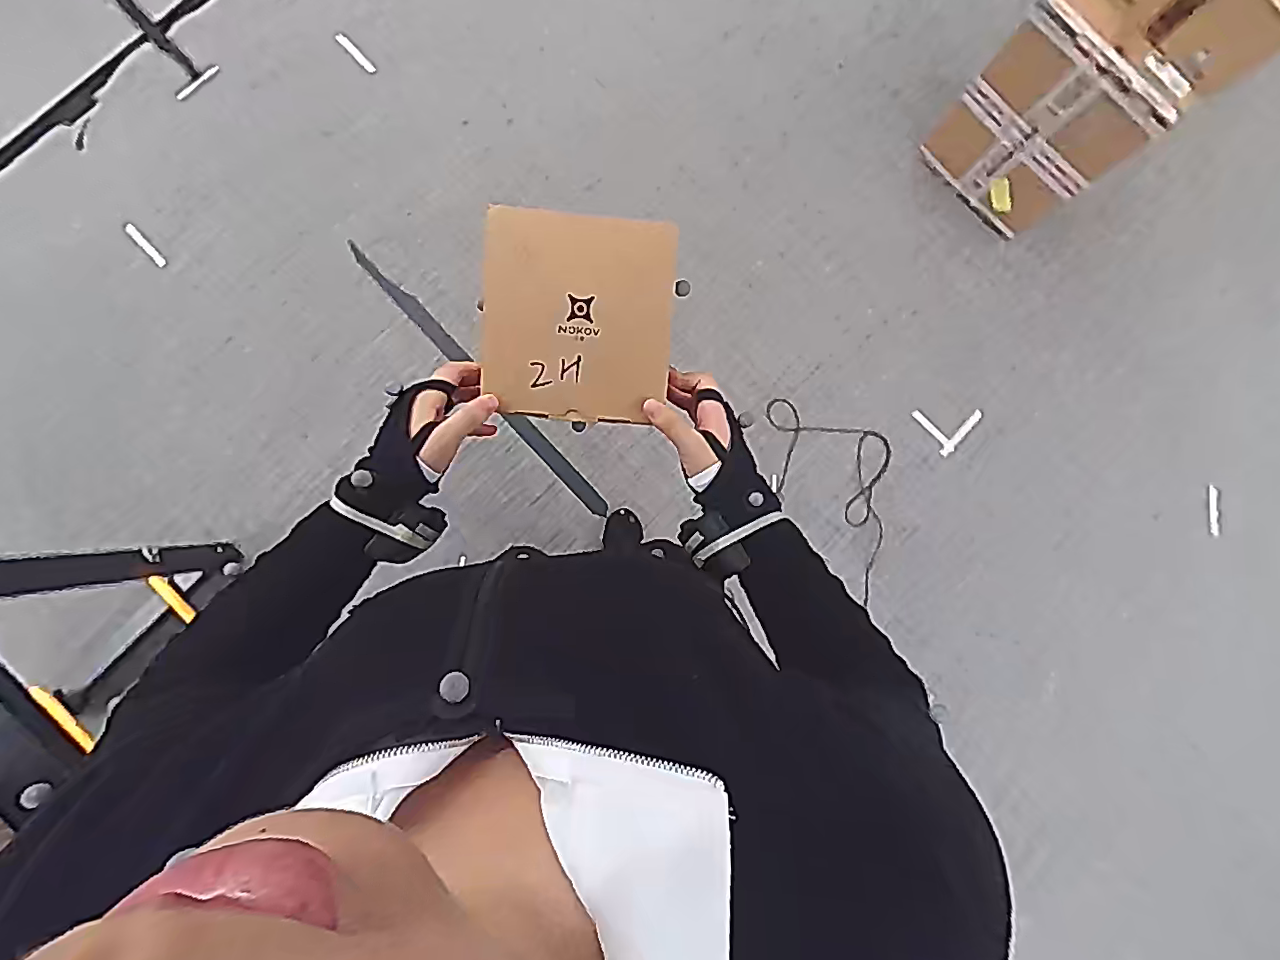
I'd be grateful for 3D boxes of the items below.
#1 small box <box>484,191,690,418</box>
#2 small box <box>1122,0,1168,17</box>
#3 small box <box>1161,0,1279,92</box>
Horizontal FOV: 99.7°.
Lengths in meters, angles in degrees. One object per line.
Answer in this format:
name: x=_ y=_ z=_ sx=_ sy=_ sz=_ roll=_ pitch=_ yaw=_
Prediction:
small box: x=-0.050 y=-0.158 z=0.543 sx=0.168 sy=0.176 sz=0.179 roll=5 pitch=97 yaw=-3
small box: x=1.071 y=-1.089 z=1.072 sx=0.179 sy=0.176 sz=0.168 roll=-42 pitch=87 yaw=-2
small box: x=1.211 y=-0.934 z=1.069 sx=0.179 sy=0.176 sz=0.168 roll=-42 pitch=90 yaw=-3
